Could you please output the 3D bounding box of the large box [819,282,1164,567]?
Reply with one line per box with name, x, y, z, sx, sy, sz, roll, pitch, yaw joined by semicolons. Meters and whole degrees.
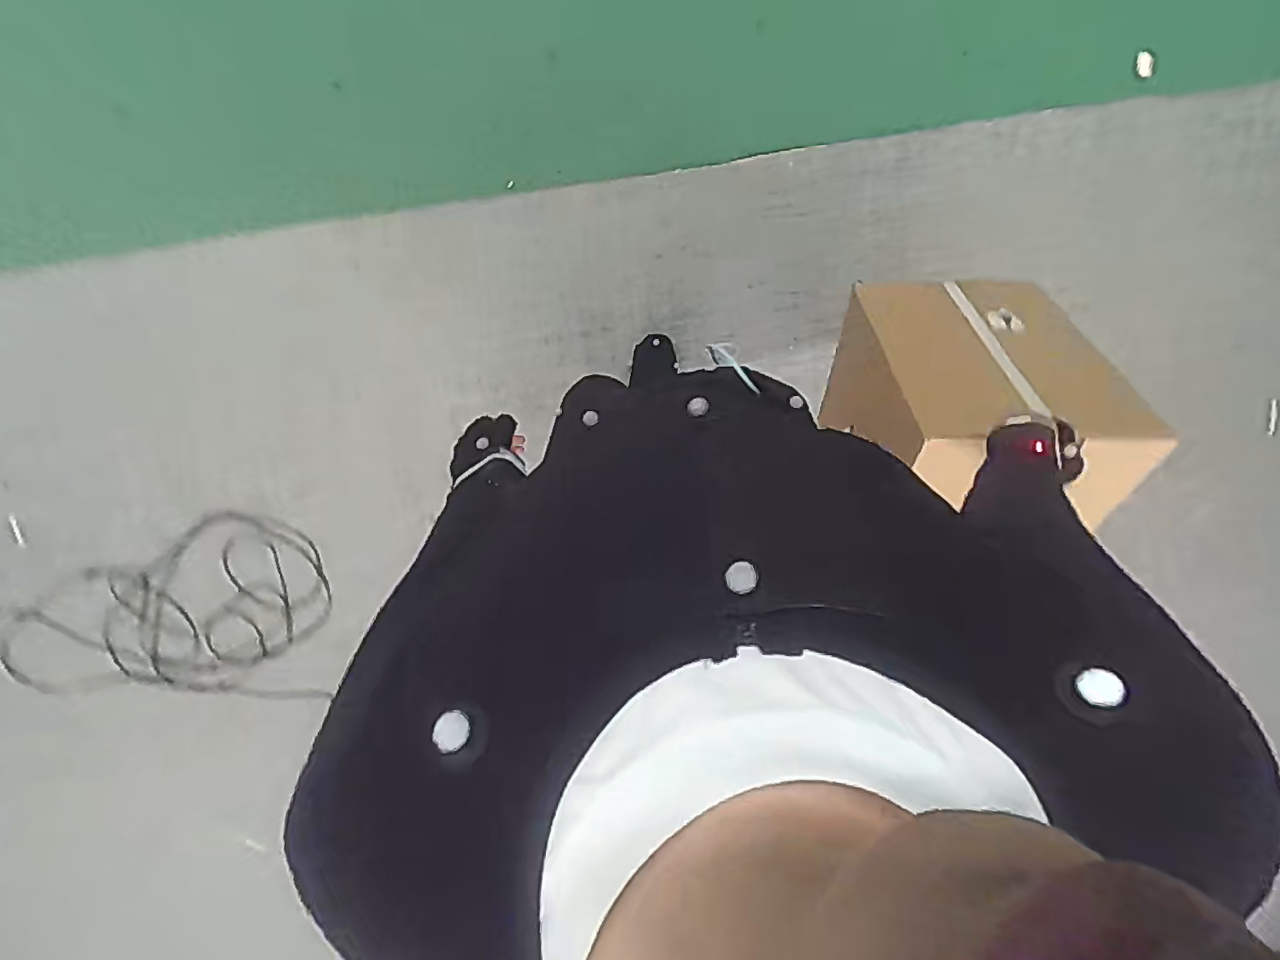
large box;0.526;-0.098;0.931;0.320;0.408;0.320;1;136;3
